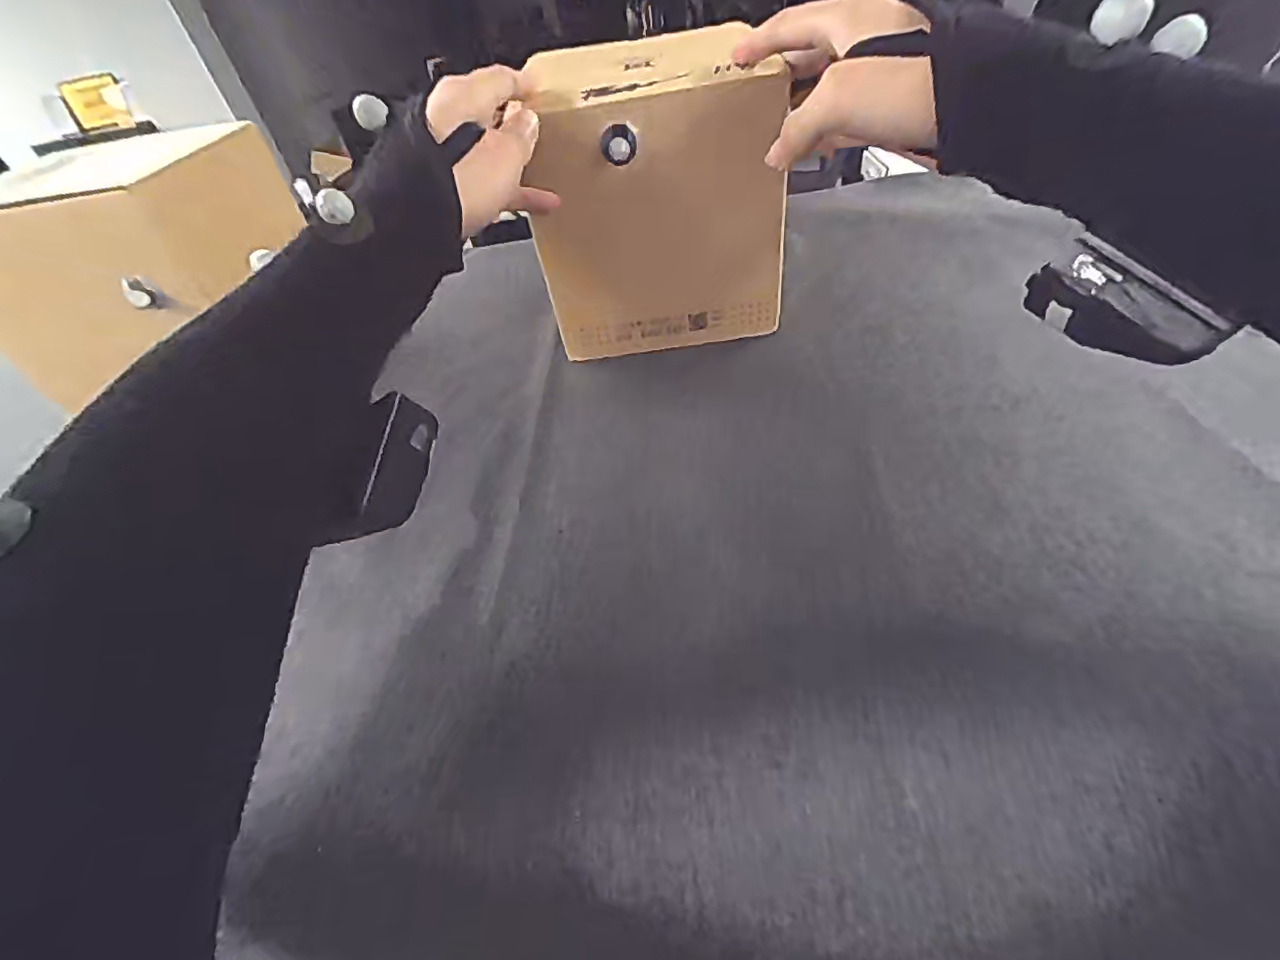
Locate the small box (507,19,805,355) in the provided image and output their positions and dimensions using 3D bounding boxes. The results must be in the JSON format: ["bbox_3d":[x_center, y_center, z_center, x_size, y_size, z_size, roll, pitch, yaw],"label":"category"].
[{"bbox_3d":[0.016,-0.217,0.405,0.168,0.176,0.179,-7,46,5],"label":"small box"}]
